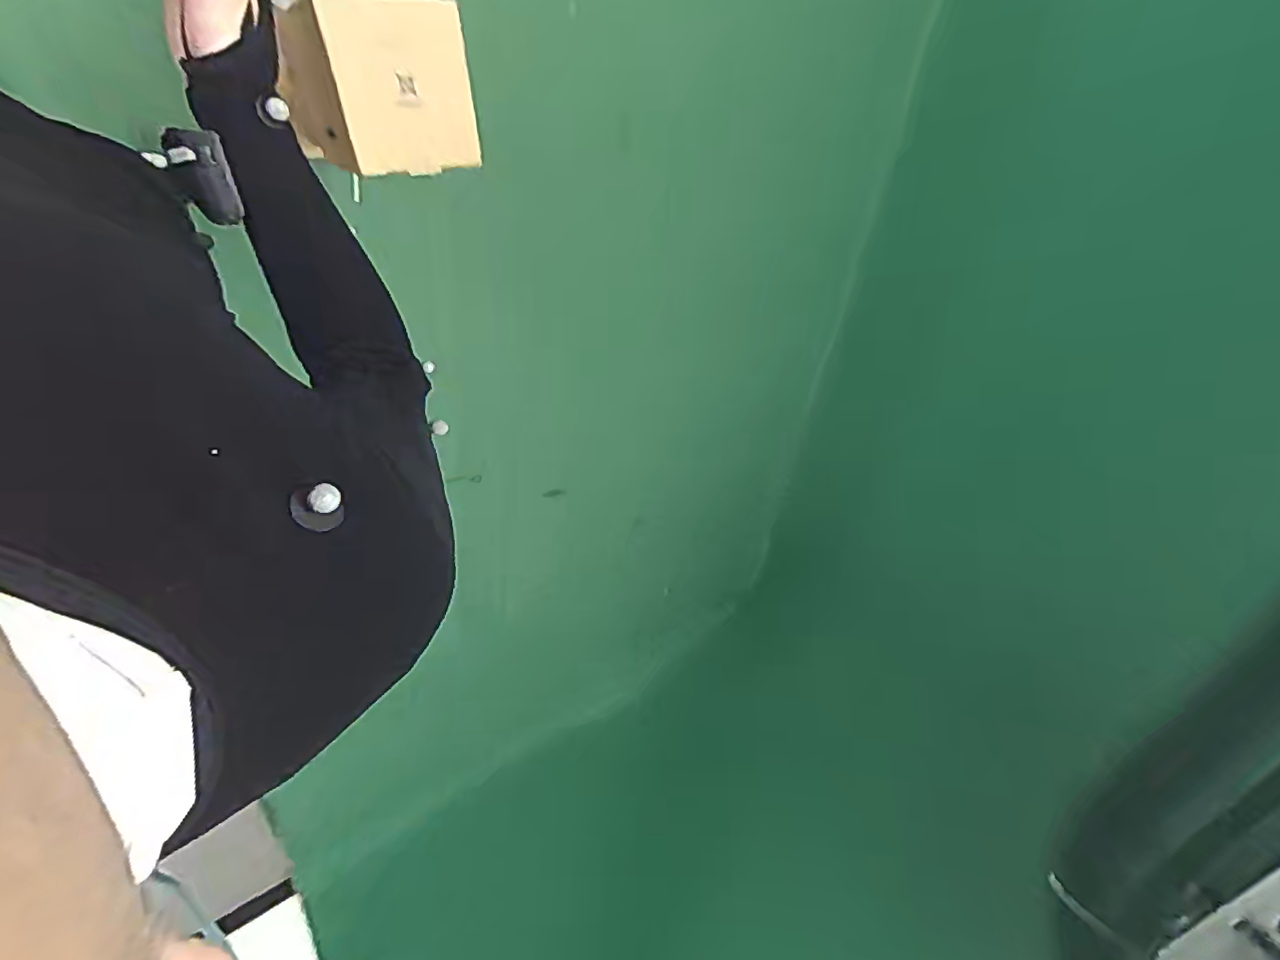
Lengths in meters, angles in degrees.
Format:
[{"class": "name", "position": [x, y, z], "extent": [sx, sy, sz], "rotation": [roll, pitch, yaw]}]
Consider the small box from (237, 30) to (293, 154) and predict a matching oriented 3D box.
[{"class": "small box", "position": [-0.638, -0.724, 1.028], "extent": [0.168, 0.176, 0.179], "rotation": [-18, 129, -35]}]

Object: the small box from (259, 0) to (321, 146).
[{"class": "small box", "position": [-0.443, -0.587, 0.803], "extent": [0.179, 0.176, 0.168], "rotation": [-16, 128, -35]}]

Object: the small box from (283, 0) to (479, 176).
[{"class": "small box", "position": [-0.334, -0.510, 0.708], "extent": [0.168, 0.176, 0.179], "rotation": [-26, 132, -31]}]

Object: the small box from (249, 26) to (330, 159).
[{"class": "small box", "position": [-0.537, -0.652, 0.920], "extent": [0.168, 0.176, 0.179], "rotation": [-20, 131, -33]}]

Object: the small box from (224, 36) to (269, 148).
[{"class": "small box", "position": [-0.738, -0.800, 1.129], "extent": [0.168, 0.176, 0.179], "rotation": [-20, 131, -34]}]
